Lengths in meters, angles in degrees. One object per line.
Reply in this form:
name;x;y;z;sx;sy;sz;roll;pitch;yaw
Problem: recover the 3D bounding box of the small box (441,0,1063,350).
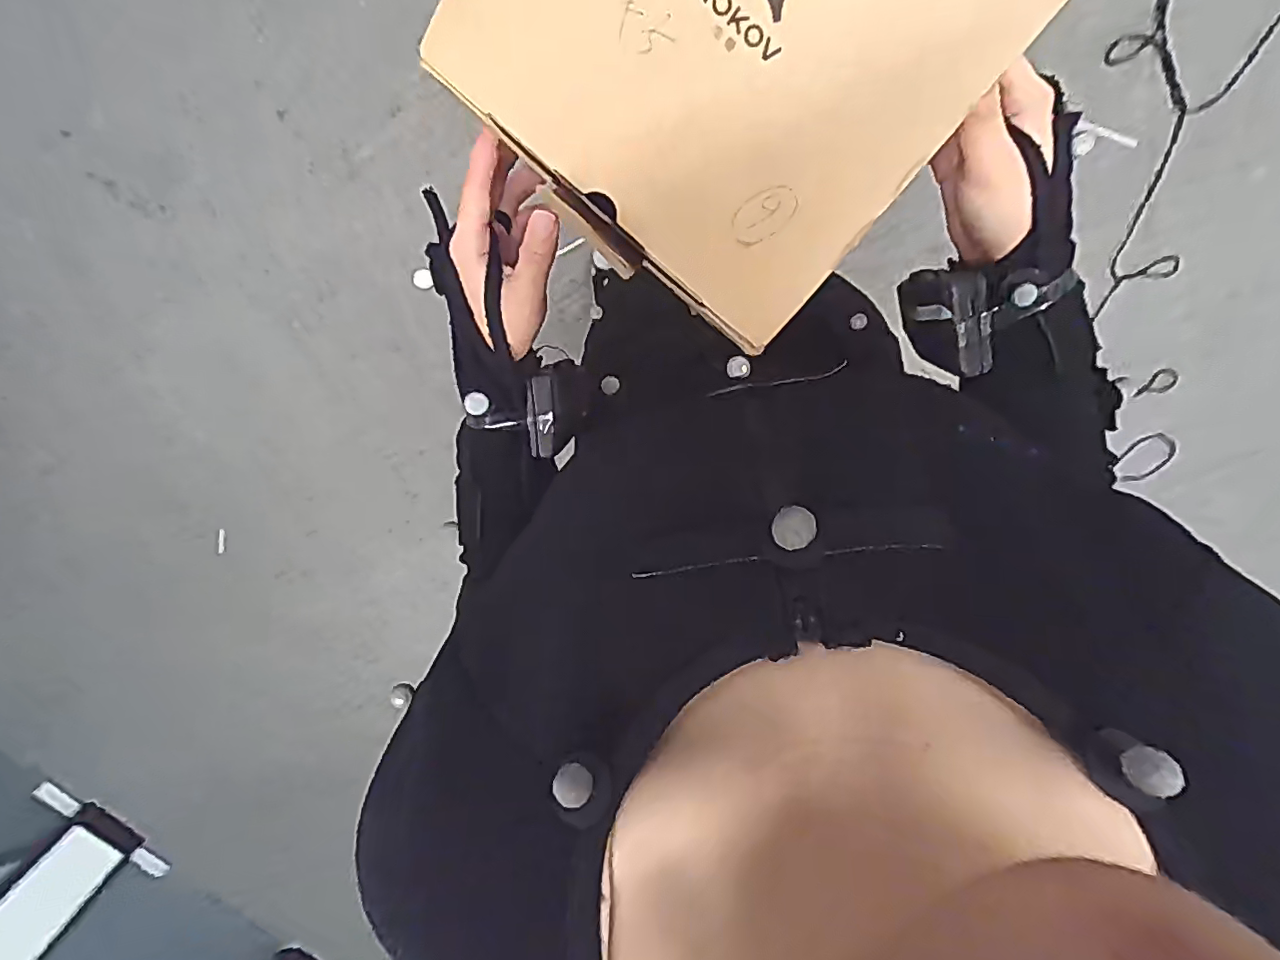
small box;0.044;-0.191;0.269;0.168;0.176;0.179;38;108;-10
